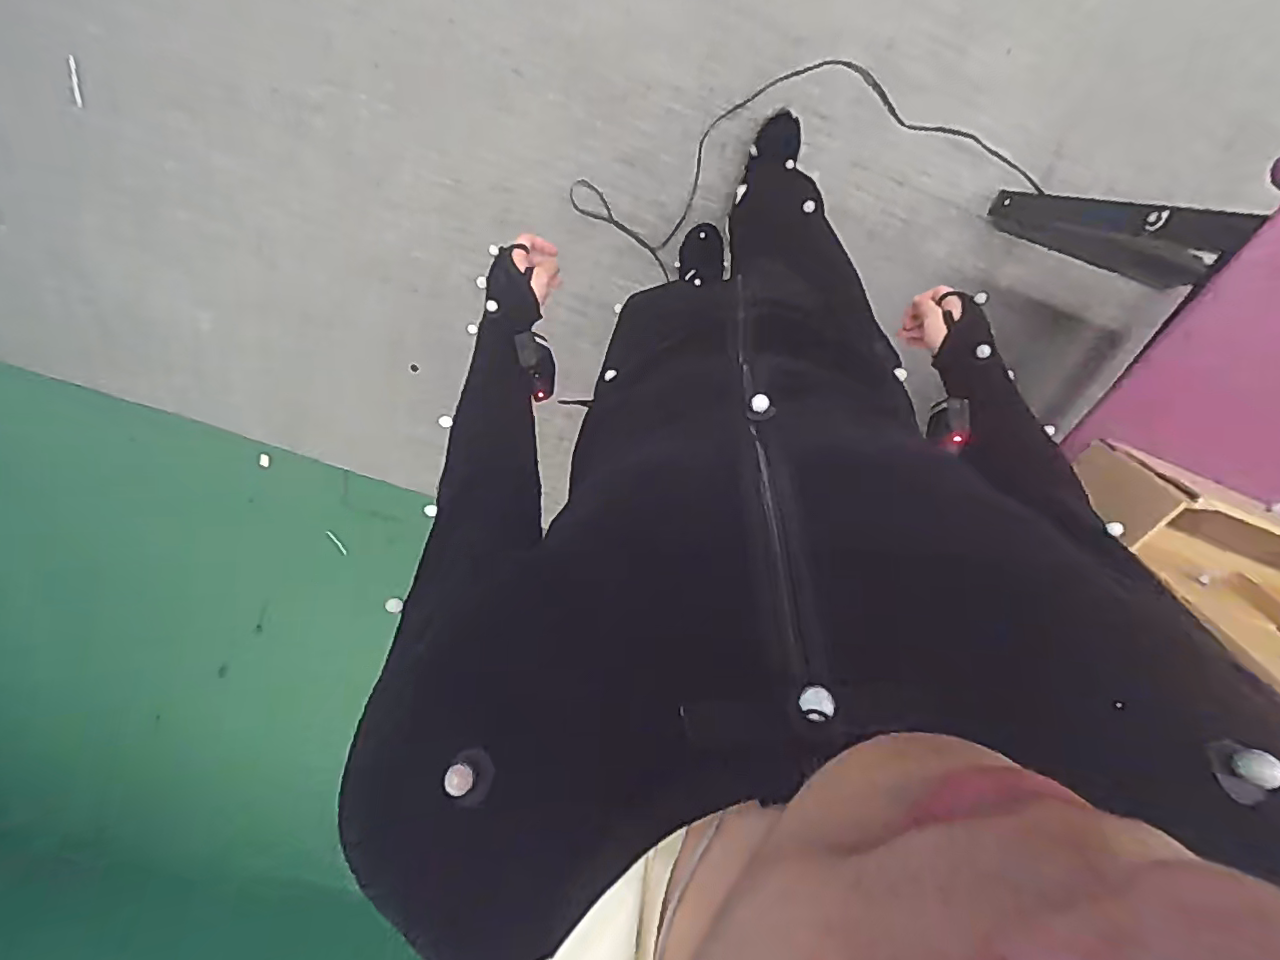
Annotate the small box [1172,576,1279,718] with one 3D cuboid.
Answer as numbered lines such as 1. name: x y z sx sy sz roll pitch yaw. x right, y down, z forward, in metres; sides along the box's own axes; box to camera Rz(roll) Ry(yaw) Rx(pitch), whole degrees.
1. small box: 1.055 0.283 0.879 0.179 0.176 0.168 18 121 -4
